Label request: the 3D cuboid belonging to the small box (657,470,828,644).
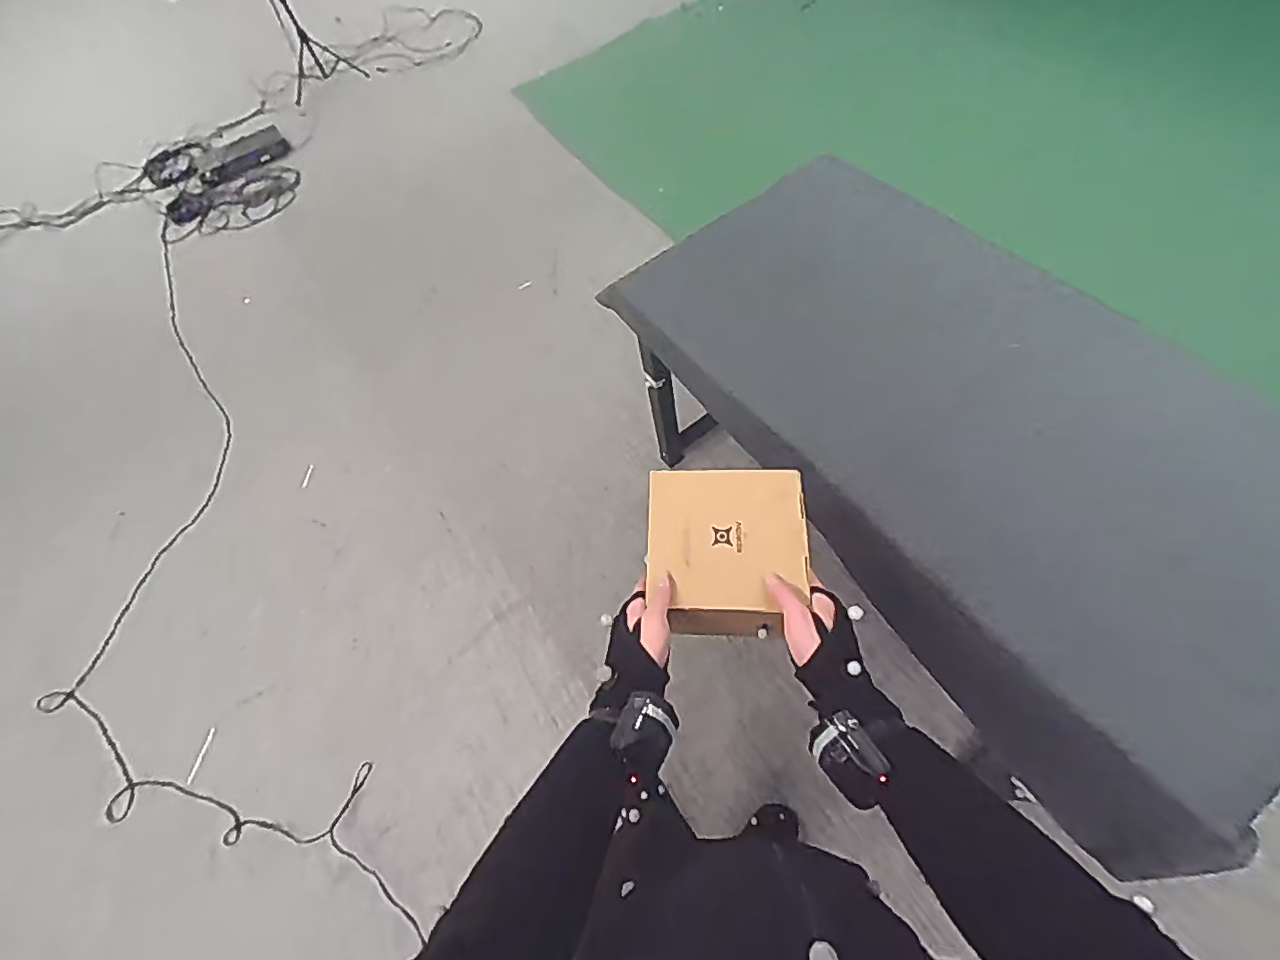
[{"bbox_3d":[0.112,0.098,0.655,0.179,0.176,0.168,-2,62,5],"label":"small box"}]
